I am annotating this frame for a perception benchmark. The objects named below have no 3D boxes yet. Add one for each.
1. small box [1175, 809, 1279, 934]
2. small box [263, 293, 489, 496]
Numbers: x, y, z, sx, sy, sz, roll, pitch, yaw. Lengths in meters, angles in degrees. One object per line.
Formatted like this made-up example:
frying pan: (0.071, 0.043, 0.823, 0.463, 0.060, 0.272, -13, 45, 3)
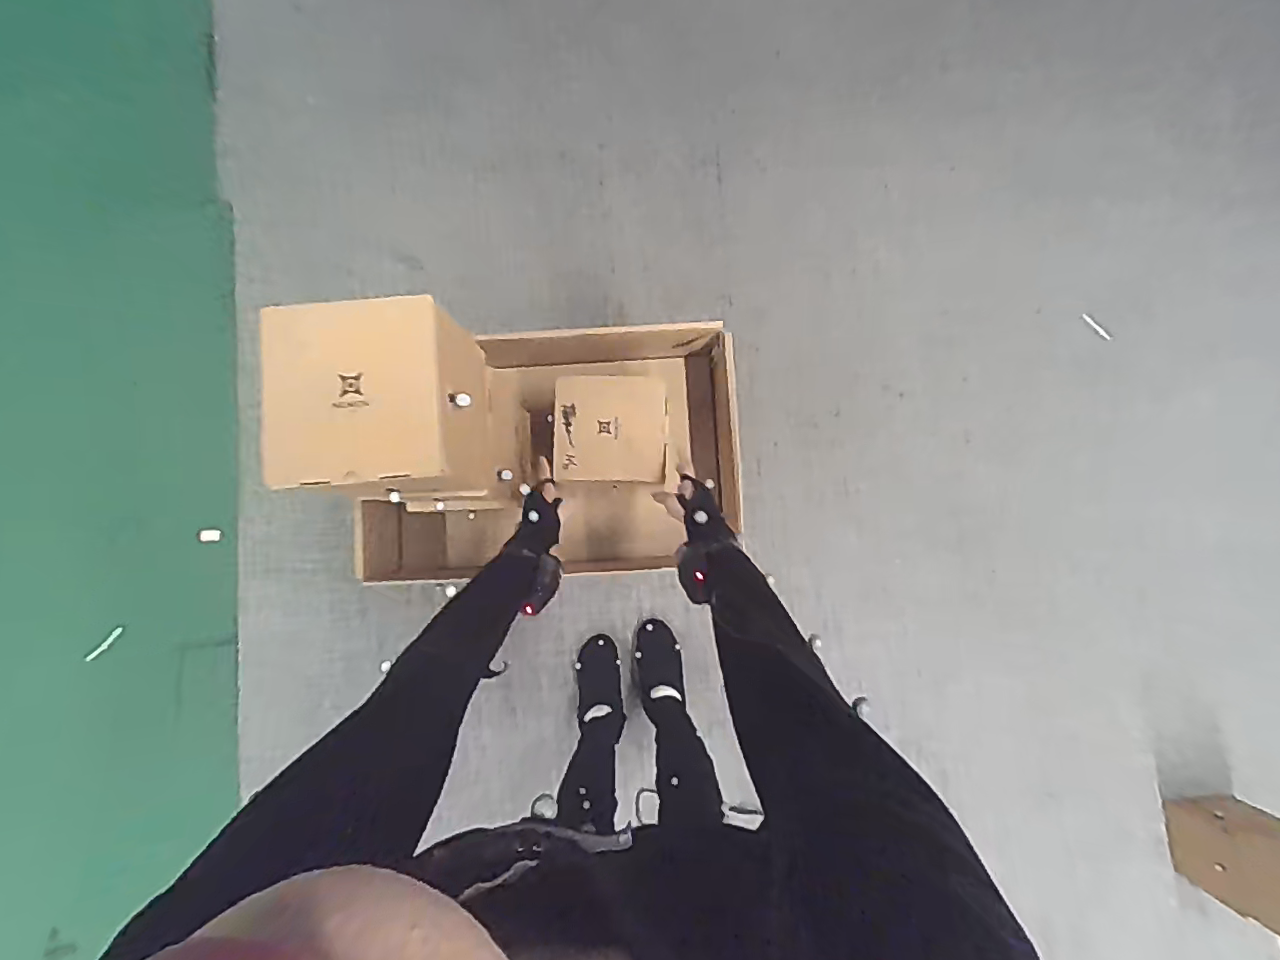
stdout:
small box: (1.378, 0.873, 1.226, 0.168, 0.176, 0.179, -5, 85, 1)
small box: (-0.269, -0.080, 0.585, 0.168, 0.176, 0.179, -4, 85, 0)
